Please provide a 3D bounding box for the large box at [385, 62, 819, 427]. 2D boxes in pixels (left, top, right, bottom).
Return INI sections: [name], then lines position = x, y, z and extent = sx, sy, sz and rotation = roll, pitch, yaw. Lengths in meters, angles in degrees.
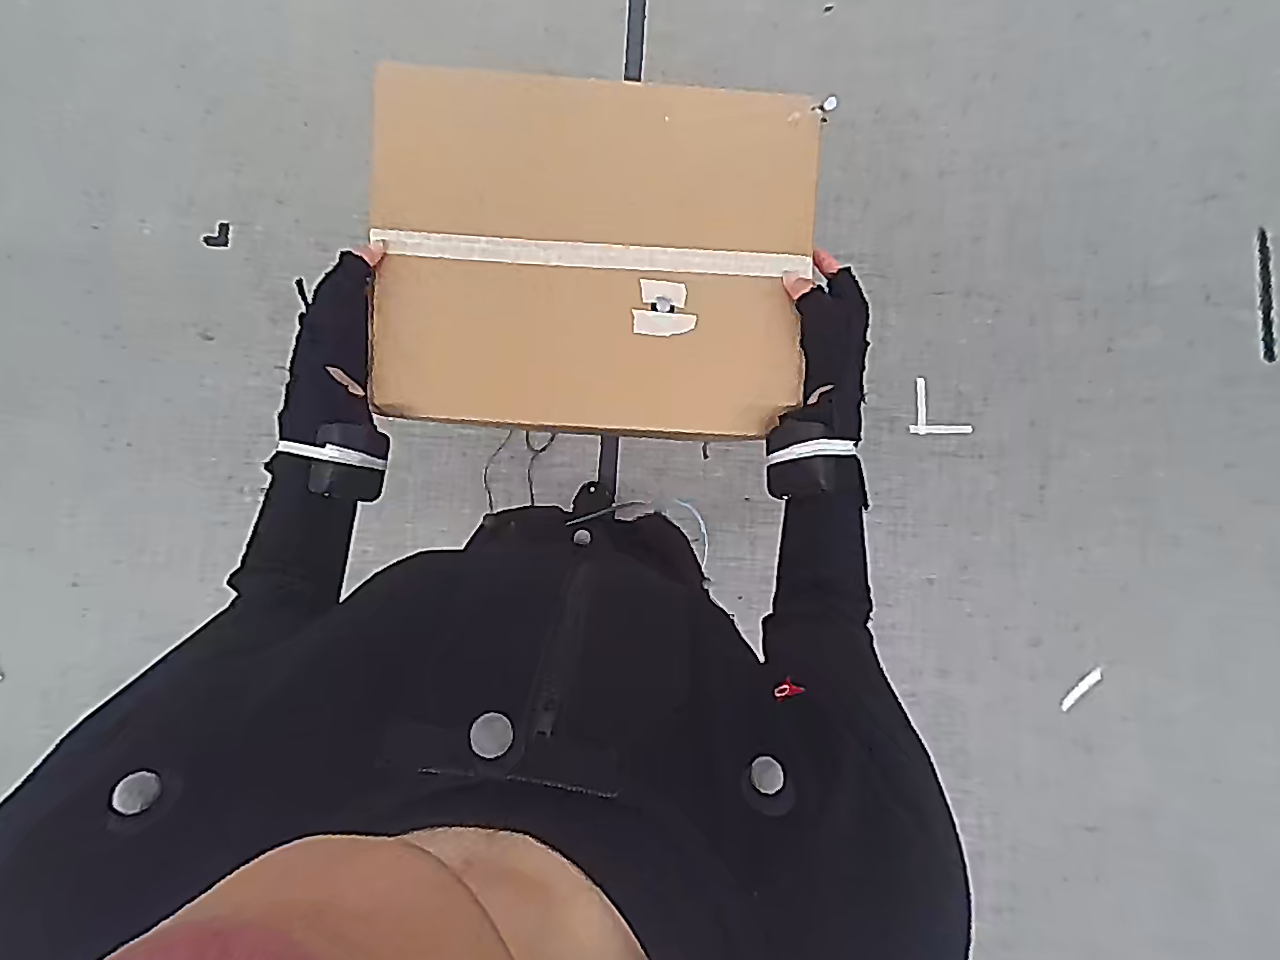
[large box]
position = -0.044, -0.230, 0.658
extent = 0.408, 0.320, 0.320
rotation = 4, 95, -3
